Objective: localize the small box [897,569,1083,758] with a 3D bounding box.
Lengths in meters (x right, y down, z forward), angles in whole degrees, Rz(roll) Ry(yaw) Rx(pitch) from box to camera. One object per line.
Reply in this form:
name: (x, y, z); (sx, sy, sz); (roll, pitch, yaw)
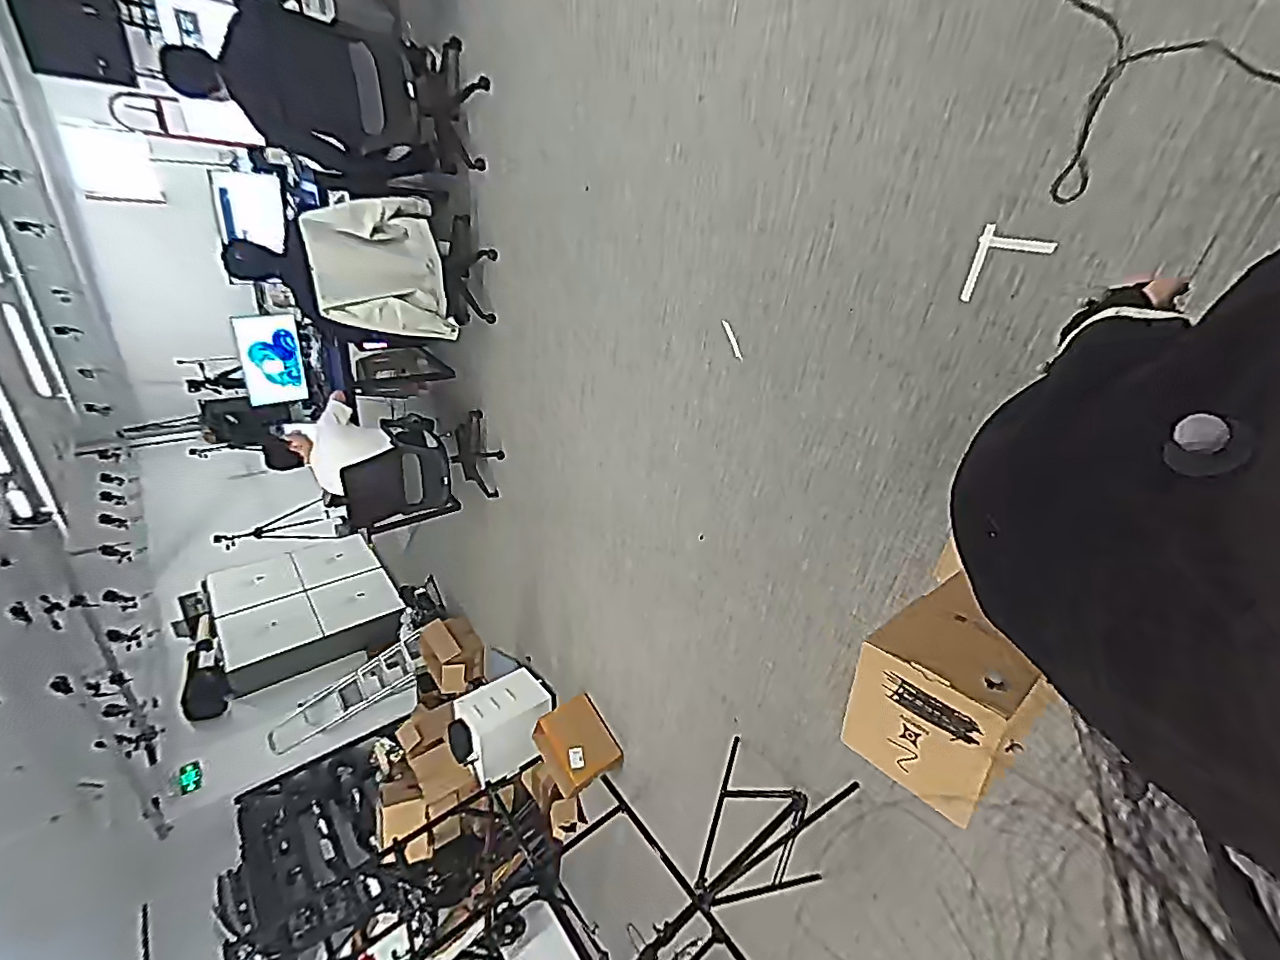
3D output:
small box: (0.518, 0.256, 0.803); (0.168, 0.176, 0.179); (27, 123, 45)
